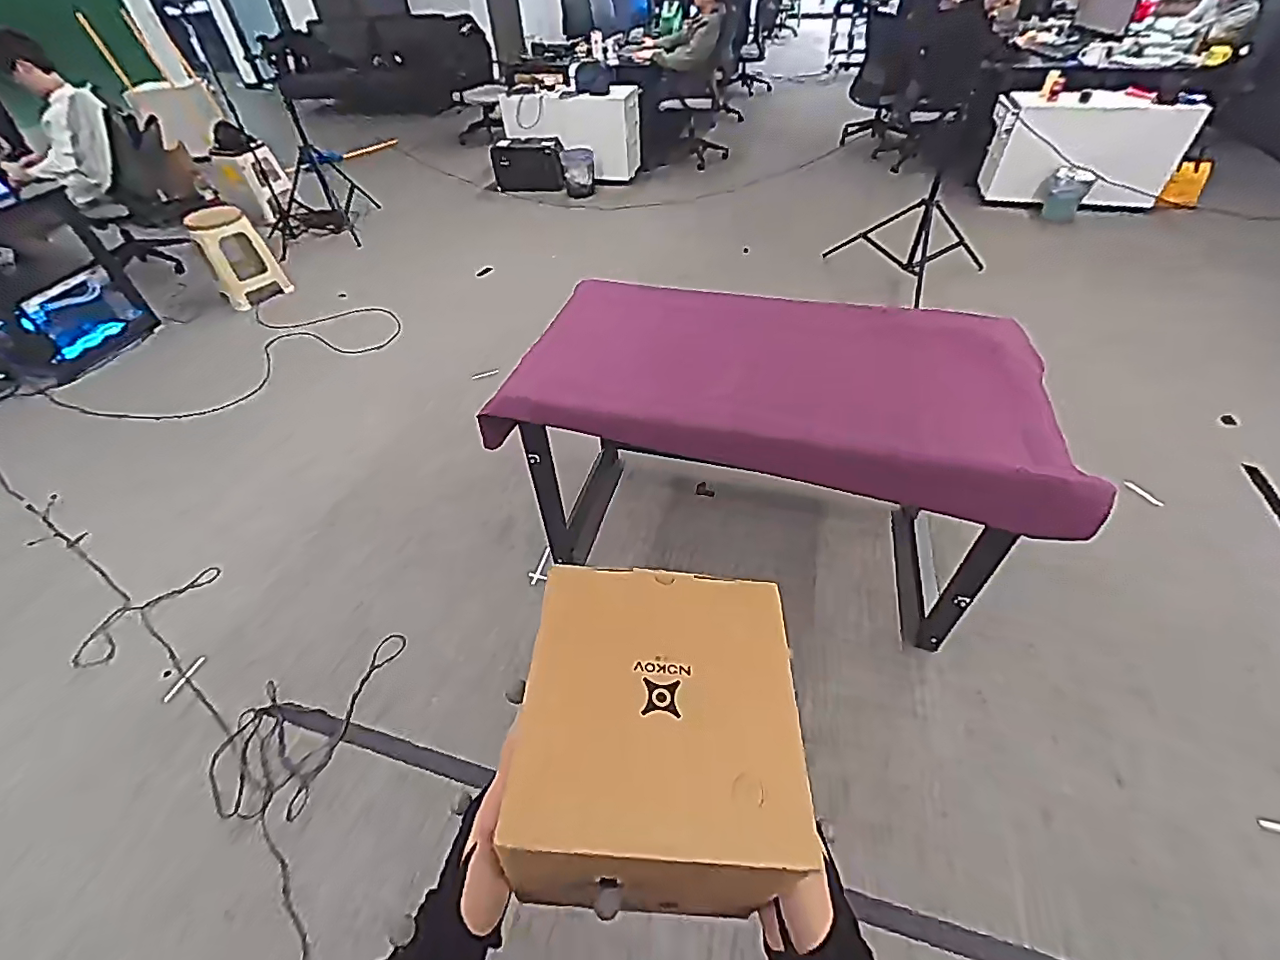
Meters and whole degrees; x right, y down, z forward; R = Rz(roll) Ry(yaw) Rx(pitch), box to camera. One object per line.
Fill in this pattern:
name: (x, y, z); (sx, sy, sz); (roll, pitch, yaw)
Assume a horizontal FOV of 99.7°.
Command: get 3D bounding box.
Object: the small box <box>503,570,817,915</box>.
small box: (0.009, 0.190, 0.389); (0.168, 0.176, 0.179); (5, 43, -2)
